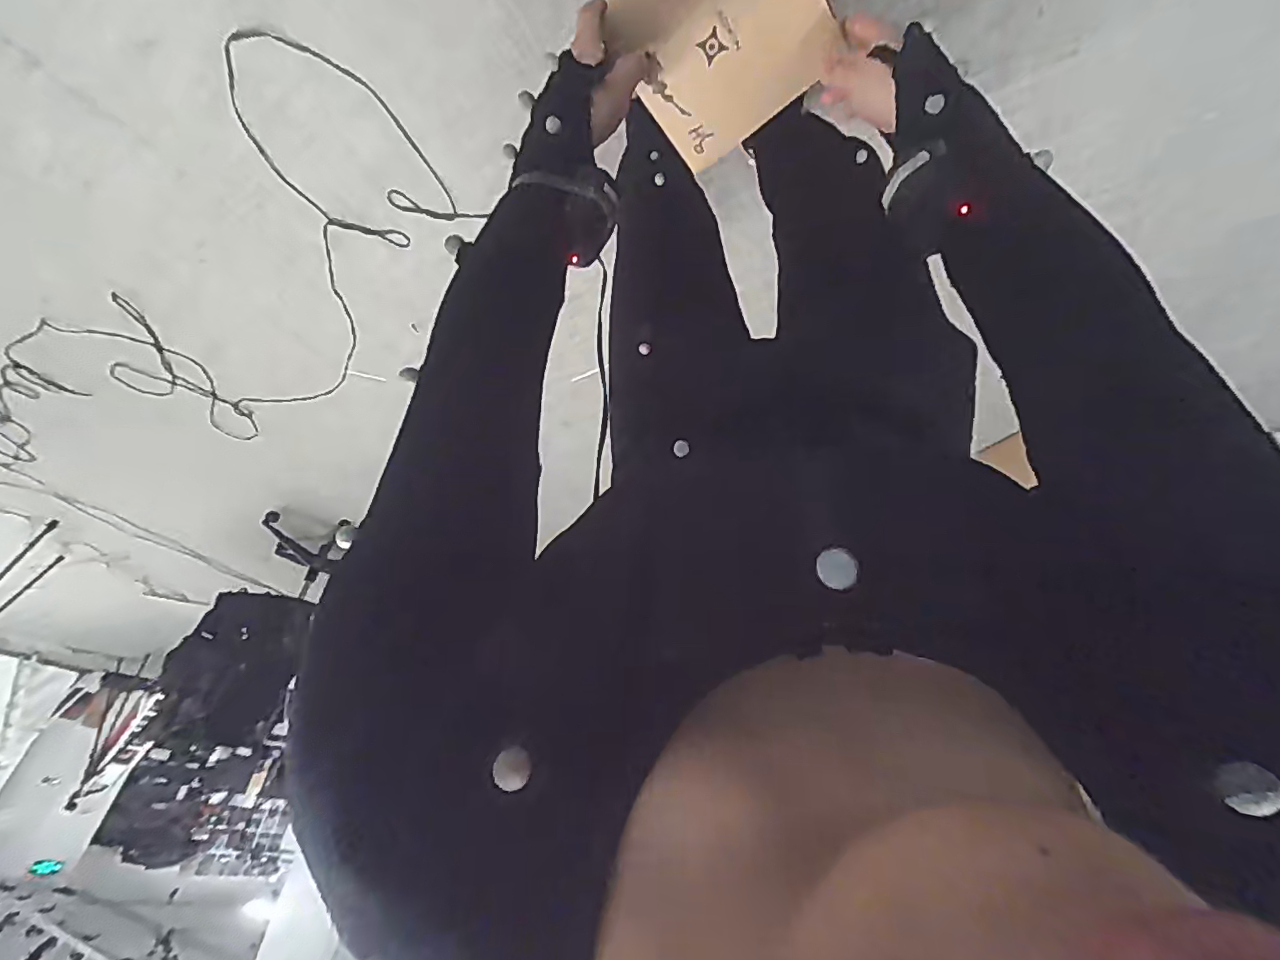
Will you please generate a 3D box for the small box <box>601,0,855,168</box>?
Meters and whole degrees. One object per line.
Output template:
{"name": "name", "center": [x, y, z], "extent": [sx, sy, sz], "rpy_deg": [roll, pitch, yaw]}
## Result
{"name": "small box", "center": [0.085, -0.466, 0.536], "extent": [0.179, 0.176, 0.168], "rpy_deg": [-24, 131, 34]}
